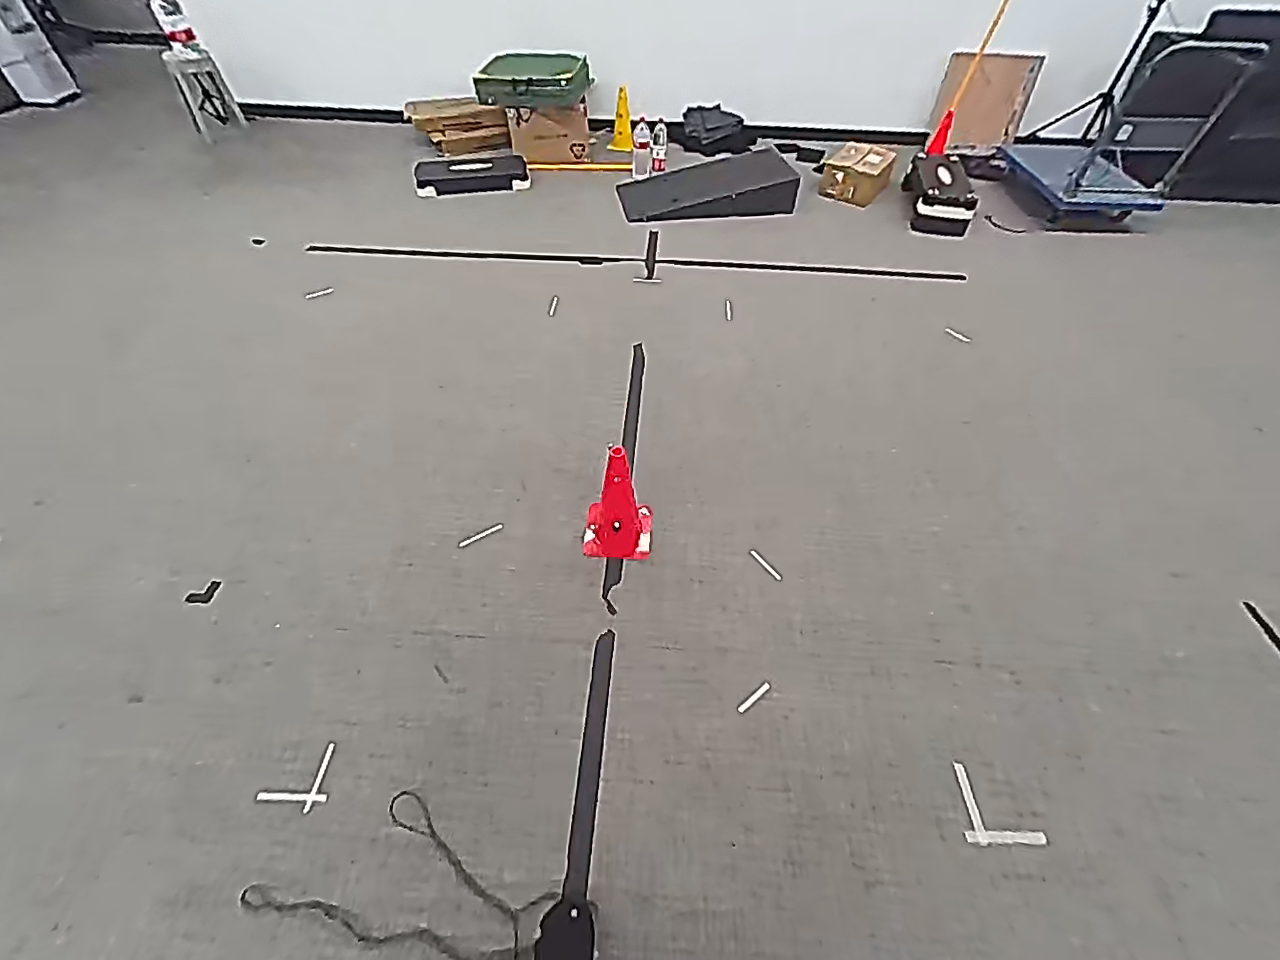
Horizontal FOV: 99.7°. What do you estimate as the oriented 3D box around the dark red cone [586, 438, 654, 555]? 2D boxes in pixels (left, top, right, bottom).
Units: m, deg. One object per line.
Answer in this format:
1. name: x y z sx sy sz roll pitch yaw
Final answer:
1. dark red cone: -0.059 0.030 1.511 0.201 0.394 0.202 3 50 2
